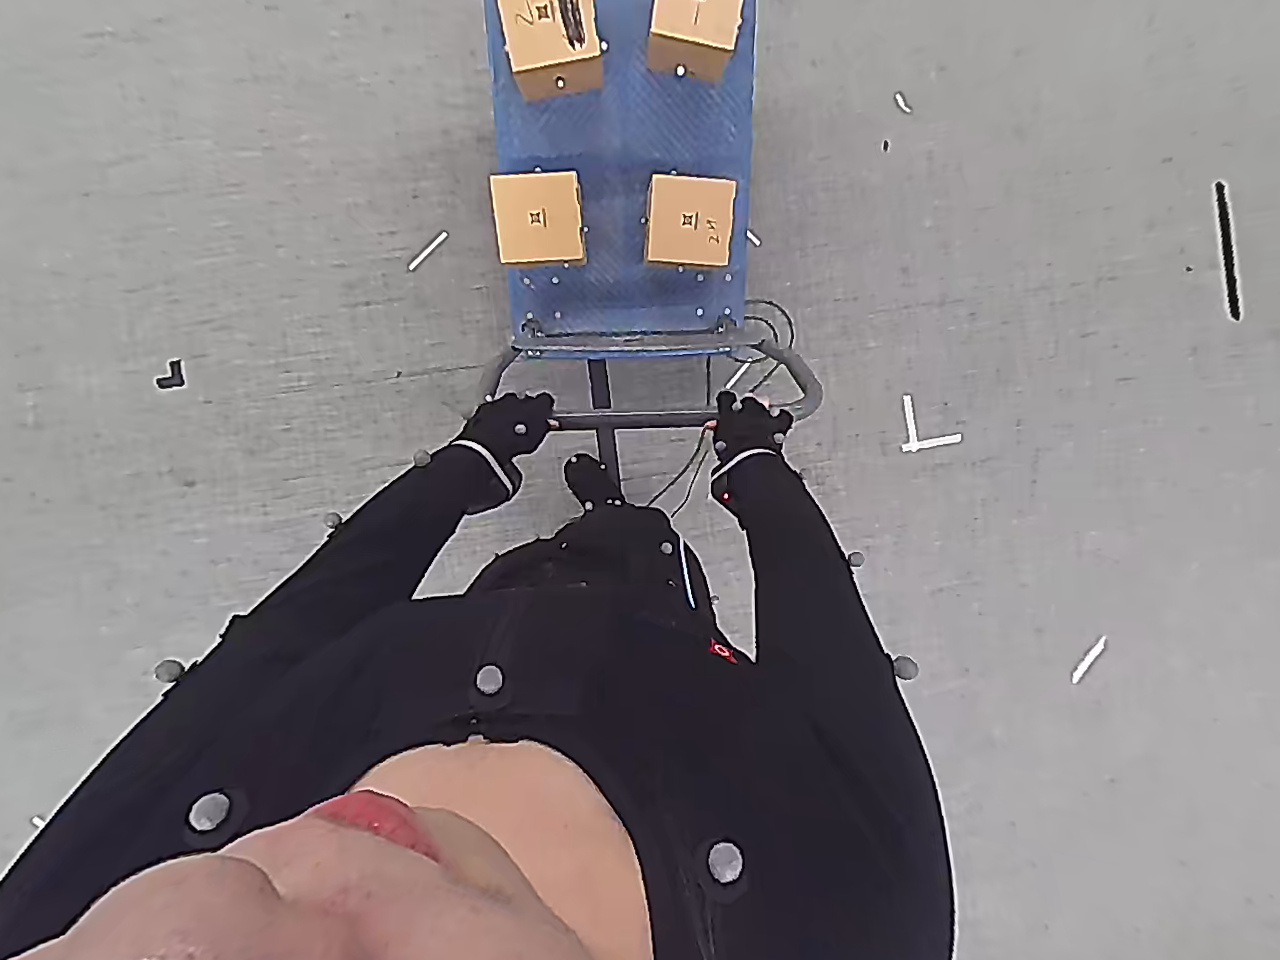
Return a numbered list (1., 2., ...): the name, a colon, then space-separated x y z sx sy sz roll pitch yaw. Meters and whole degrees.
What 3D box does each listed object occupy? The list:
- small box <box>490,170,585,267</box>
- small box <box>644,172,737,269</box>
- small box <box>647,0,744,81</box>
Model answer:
1. small box: -0.215 -0.563 1.181 0.179 0.176 0.168 -5 108 -3
2. small box: 0.103 -0.565 1.199 0.179 0.176 0.168 3 108 -4
3. small box: 0.111 -0.943 1.077 0.168 0.176 0.179 8 108 -6
